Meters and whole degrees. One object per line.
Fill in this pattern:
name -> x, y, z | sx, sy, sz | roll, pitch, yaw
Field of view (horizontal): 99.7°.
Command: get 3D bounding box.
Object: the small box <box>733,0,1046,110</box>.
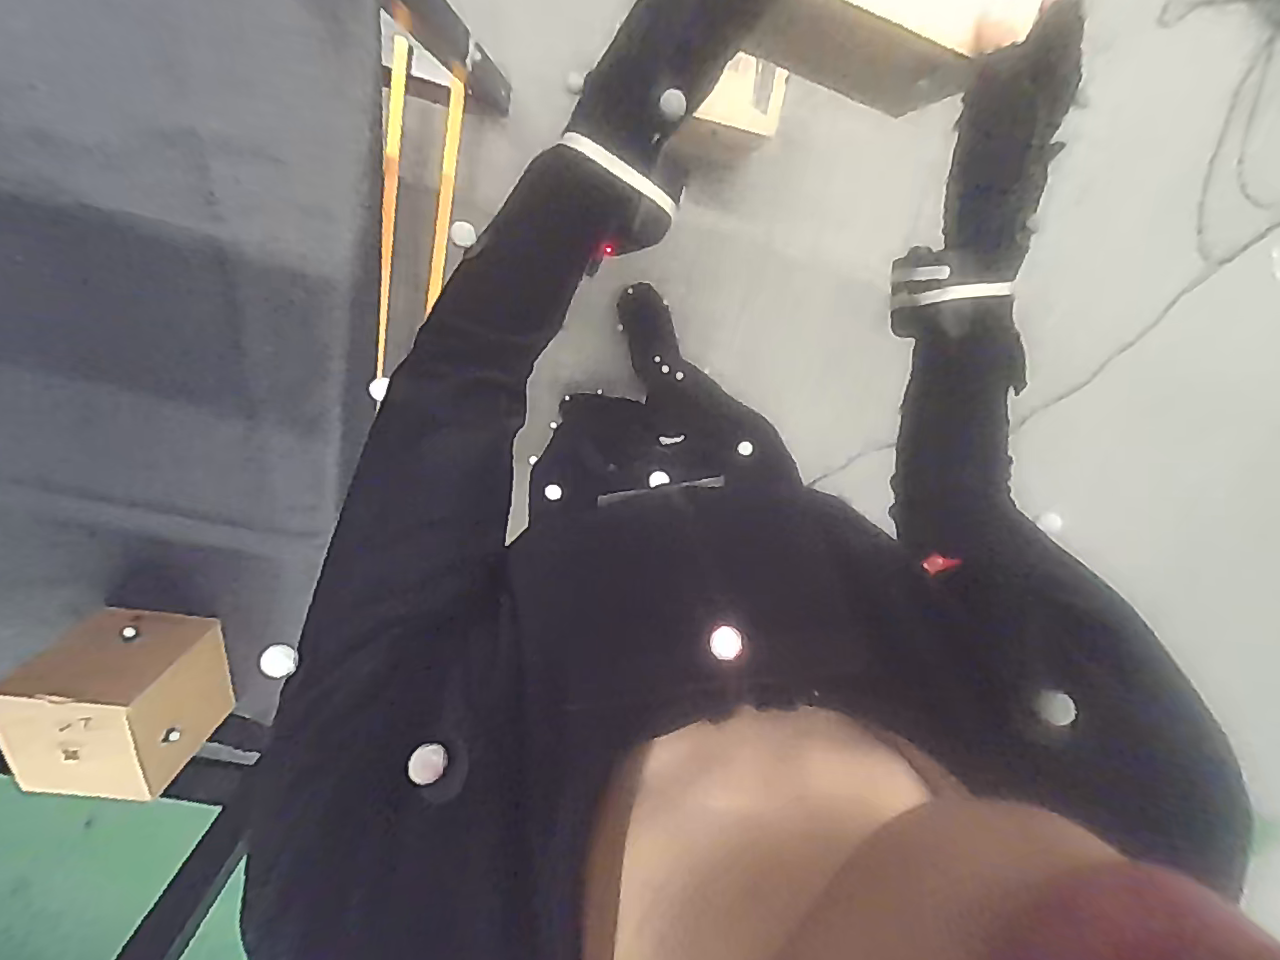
small box -> 0.179, -0.385, 0.375 | 0.179, 0.176, 0.168 | 17, 116, -8

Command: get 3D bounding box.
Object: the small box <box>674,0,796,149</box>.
small box -> 0.163, -0.692, 0.937 | 0.179, 0.176, 0.168 | 12, 113, -4

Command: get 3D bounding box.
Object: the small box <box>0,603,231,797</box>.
small box -> -0.714, 0.301, 0.755 | 0.168, 0.176, 0.179 | 8, 113, -4
